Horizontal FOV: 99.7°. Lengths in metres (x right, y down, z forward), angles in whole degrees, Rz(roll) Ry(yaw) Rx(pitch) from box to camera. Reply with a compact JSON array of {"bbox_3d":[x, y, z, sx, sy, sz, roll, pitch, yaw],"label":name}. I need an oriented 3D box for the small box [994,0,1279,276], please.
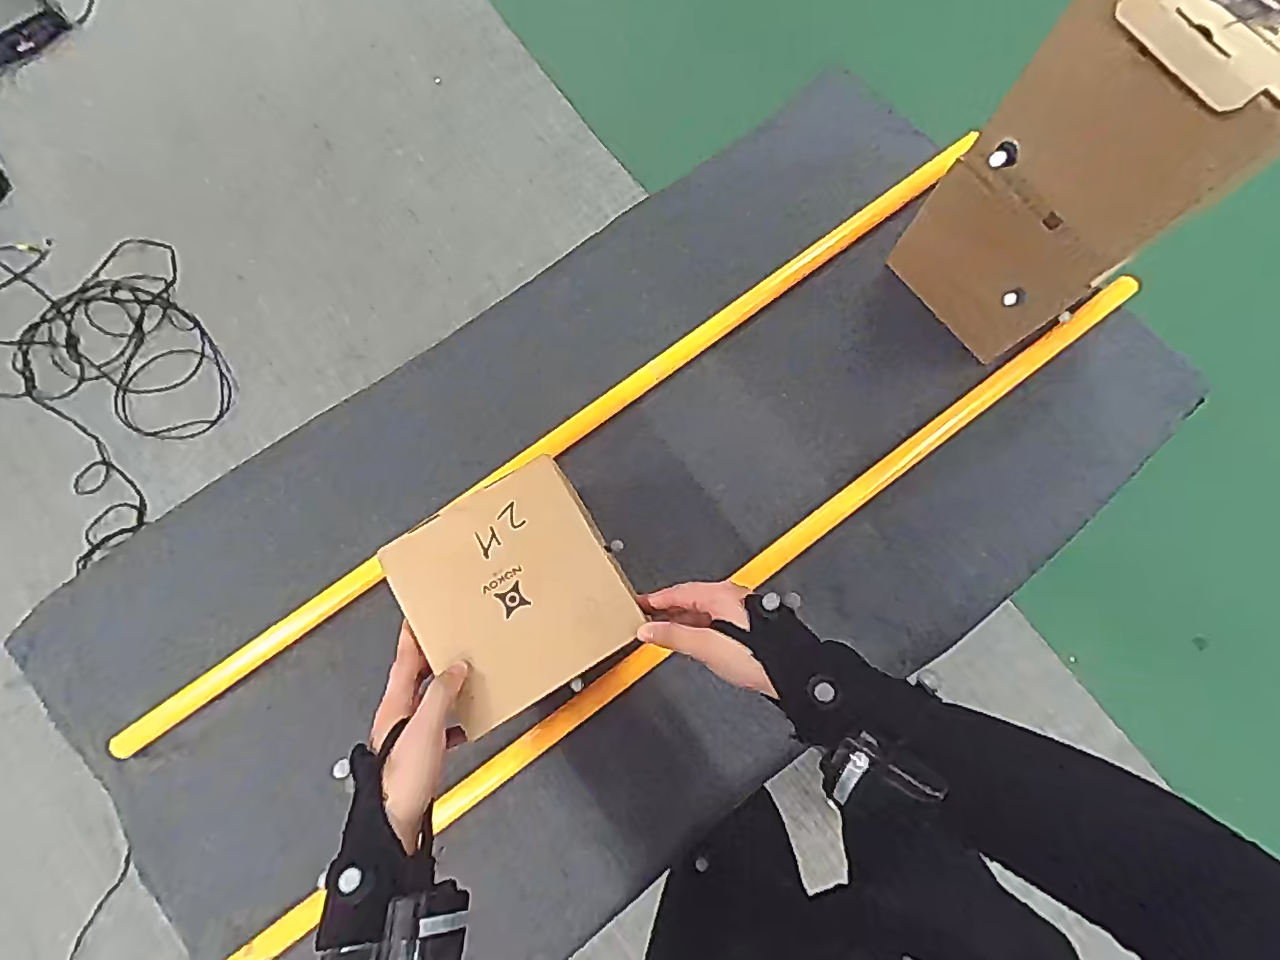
[{"bbox_3d":[0.420,-0.296,0.417,0.179,0.176,0.168,-31,79,-5],"label":"small box"}]
